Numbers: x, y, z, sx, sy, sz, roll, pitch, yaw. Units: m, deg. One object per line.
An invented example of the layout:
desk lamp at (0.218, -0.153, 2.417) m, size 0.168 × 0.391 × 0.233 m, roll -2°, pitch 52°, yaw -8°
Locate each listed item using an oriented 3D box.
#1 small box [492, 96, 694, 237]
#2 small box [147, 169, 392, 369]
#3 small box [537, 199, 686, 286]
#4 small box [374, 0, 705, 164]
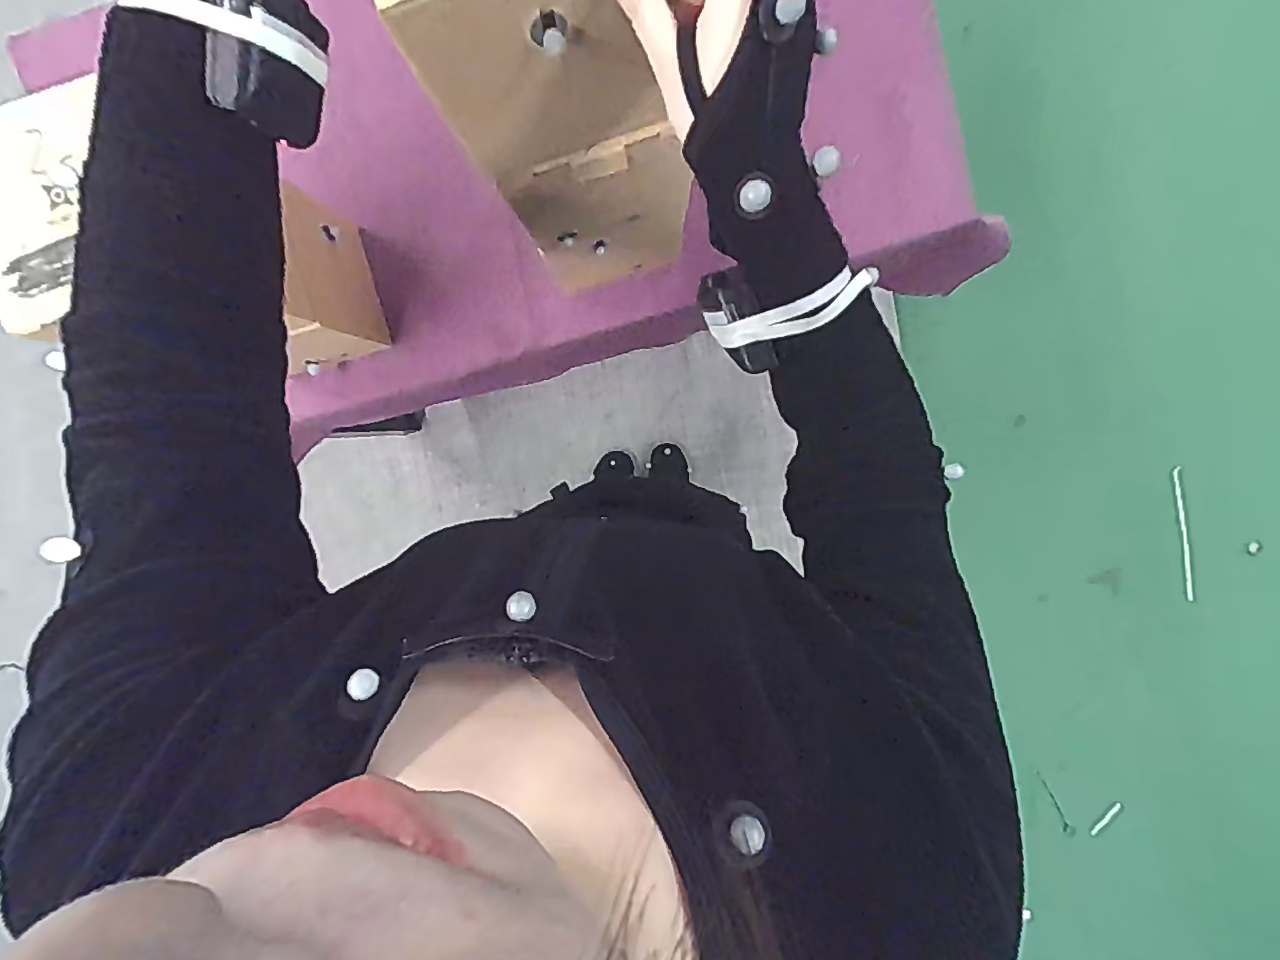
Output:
small box at (-0.051, -0.343, 0.493) m, size 0.168 × 0.176 × 0.179 m, roll -15°, pitch 95°, yaw 4°
small box at (-0.450, -0.250, 0.687) m, size 0.168 × 0.176 × 0.179 m, roll -14°, pitch 96°, yaw 4°
small box at (-0.045, -0.361, 0.657) m, size 0.168 × 0.176 × 0.179 m, roll -15°, pitch 95°, yaw 5°
small box at (-0.060, -0.328, 0.326) m, size 0.179 × 0.176 × 0.168 m, roll -16°, pitch 96°, yaw 3°
